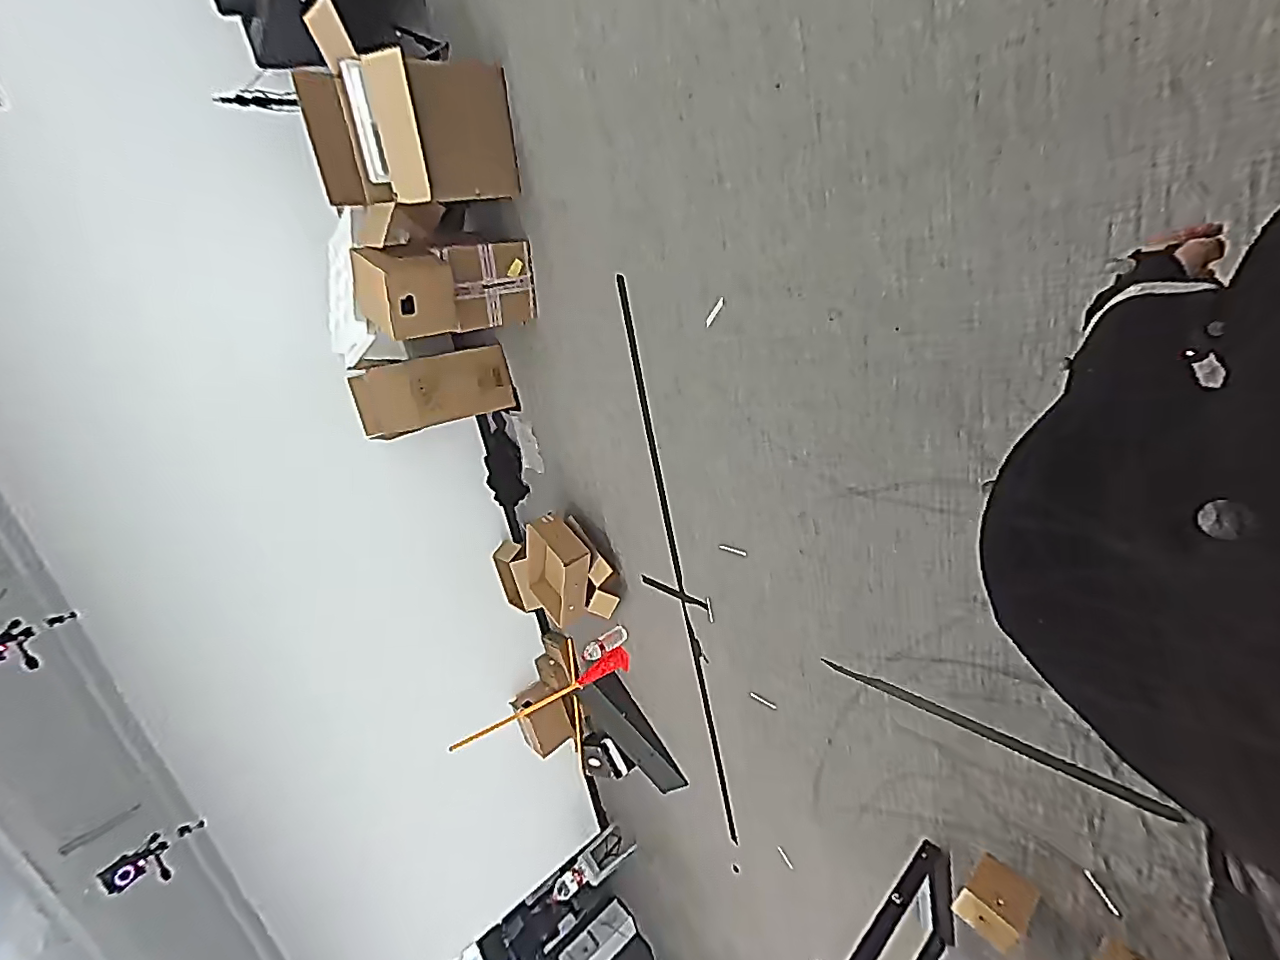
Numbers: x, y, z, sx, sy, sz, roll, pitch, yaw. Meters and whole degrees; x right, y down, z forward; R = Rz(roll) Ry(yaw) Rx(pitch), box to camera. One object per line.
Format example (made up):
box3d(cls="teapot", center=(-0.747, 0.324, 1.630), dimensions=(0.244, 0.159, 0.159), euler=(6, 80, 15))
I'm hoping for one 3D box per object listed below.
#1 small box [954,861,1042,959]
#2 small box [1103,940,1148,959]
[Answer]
box3d(cls="small box", center=(1.207, 1.438, 1.825), dimensions=(0.179, 0.176, 0.168), euler=(30, 132, 40))
box3d(cls="small box", center=(1.430, 1.499, 1.552), dimensions=(0.168, 0.176, 0.179), euler=(10, 117, 51))
